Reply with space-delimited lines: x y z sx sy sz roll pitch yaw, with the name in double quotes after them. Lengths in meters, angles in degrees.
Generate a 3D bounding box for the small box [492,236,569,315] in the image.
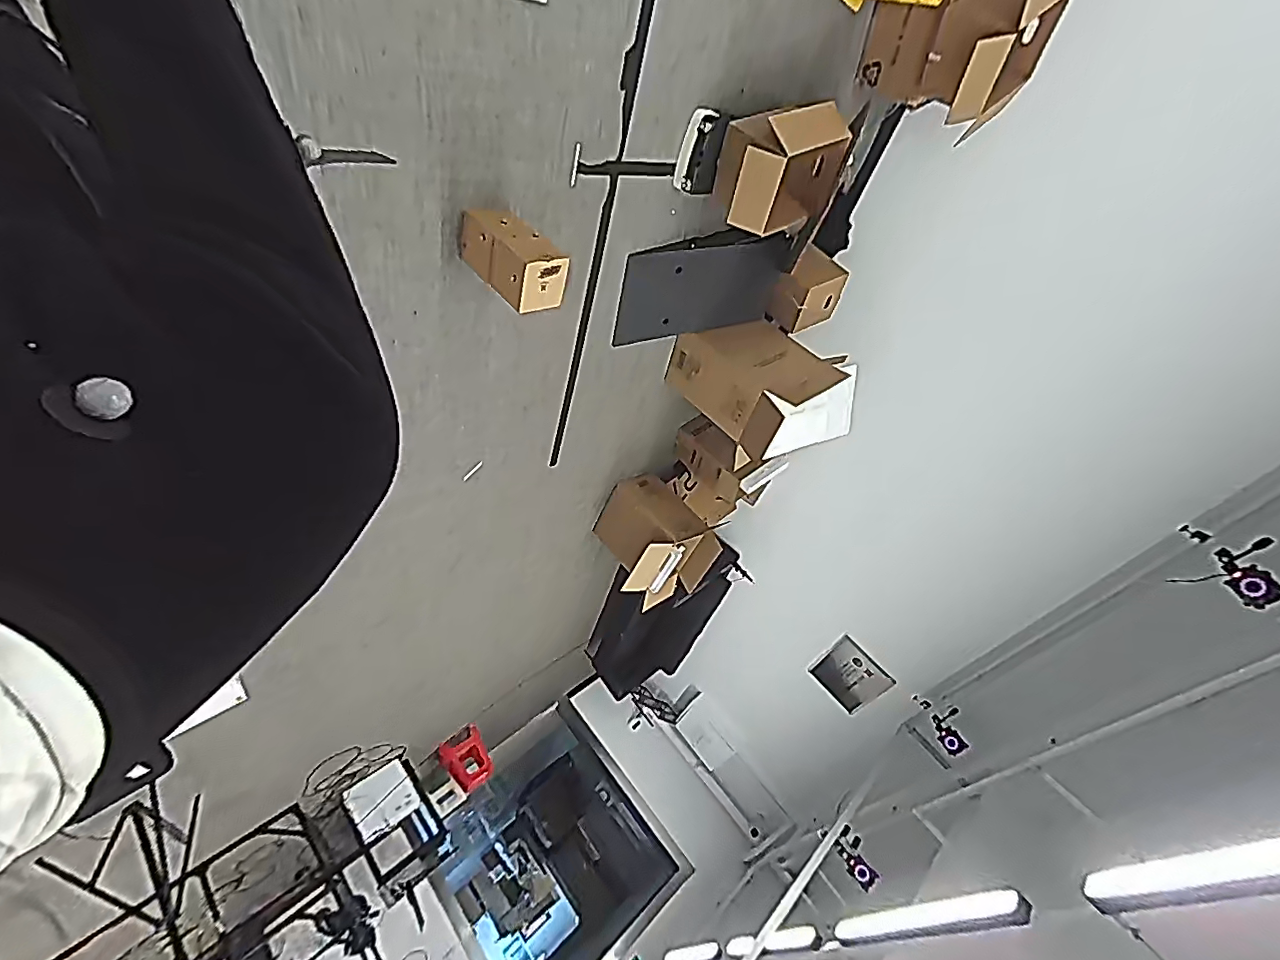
-0.352 -0.656 1.717 0.168 0.176 0.179 -26 152 -38 "small box"
